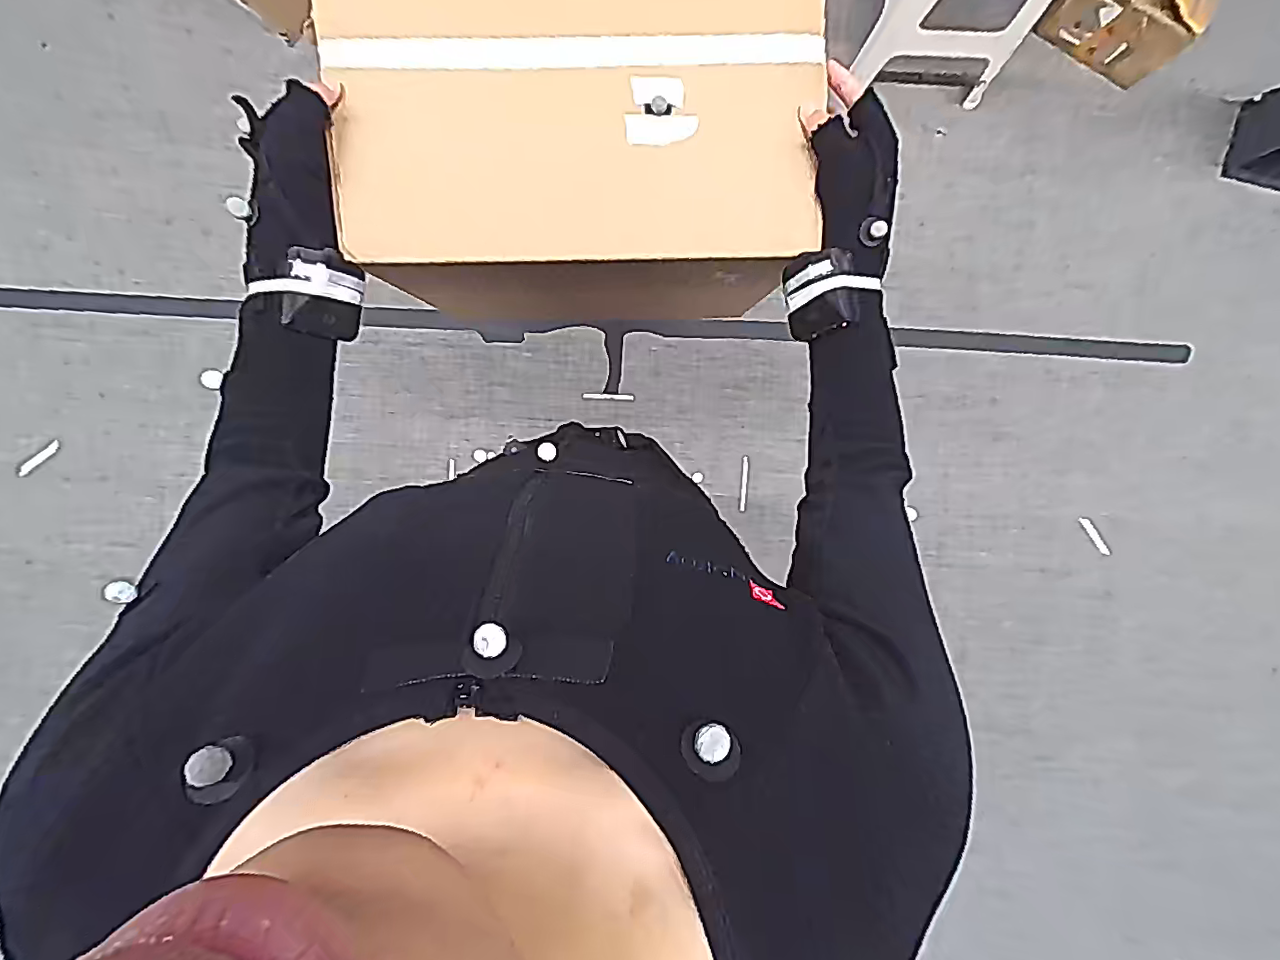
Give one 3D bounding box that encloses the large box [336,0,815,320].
[{"bbox_3d":[-0.057,-0.366,0.601,0.408,0.320,0.320,-2,98,-2],"label":"large box"}]
